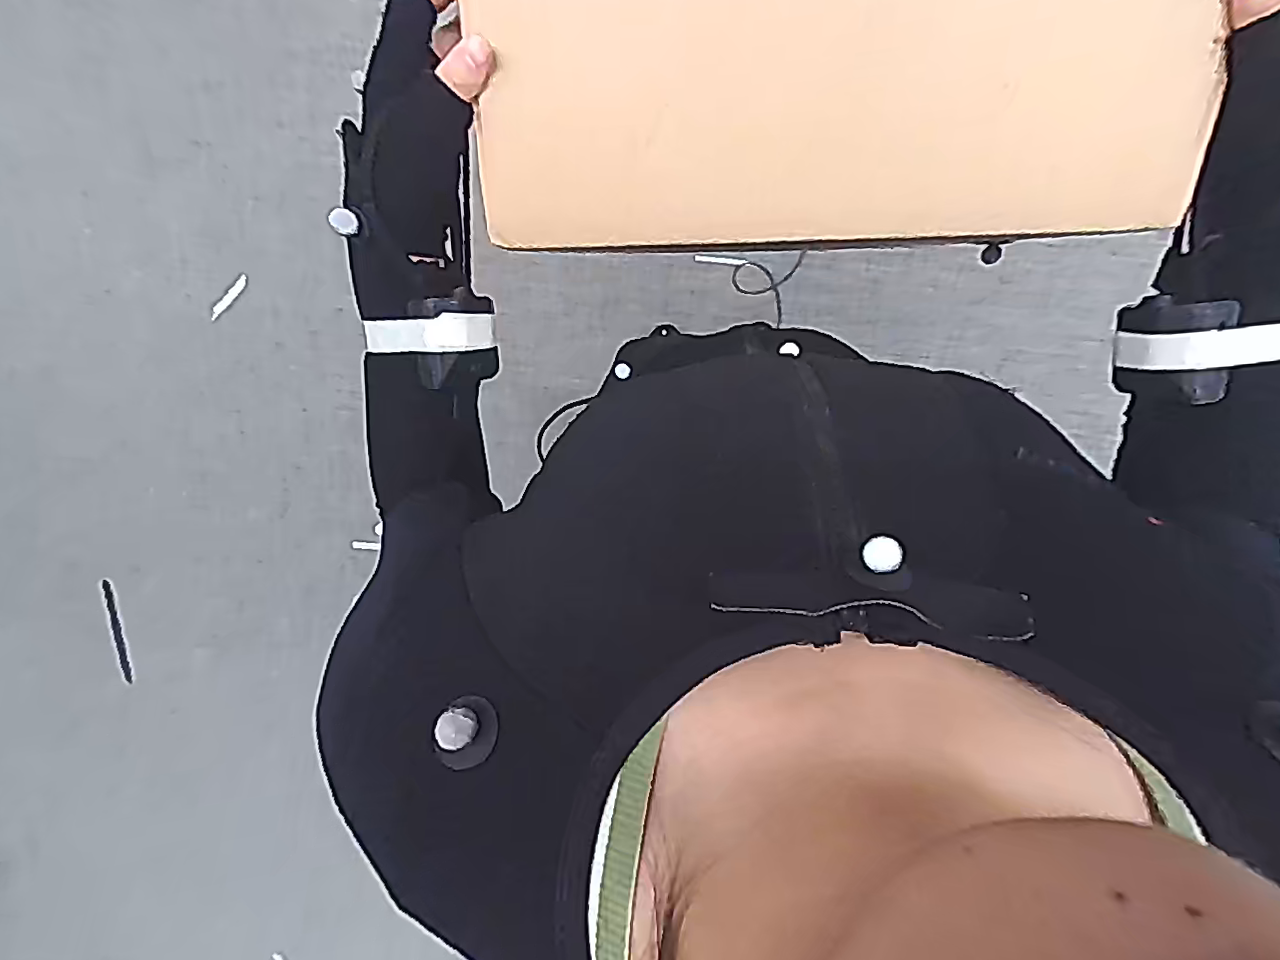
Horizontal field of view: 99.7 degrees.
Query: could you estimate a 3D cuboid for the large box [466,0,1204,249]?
[{"bbox_3d":[0.108,-0.353,0.414,0.408,0.320,0.320,0,112,3],"label":"large box"}]
